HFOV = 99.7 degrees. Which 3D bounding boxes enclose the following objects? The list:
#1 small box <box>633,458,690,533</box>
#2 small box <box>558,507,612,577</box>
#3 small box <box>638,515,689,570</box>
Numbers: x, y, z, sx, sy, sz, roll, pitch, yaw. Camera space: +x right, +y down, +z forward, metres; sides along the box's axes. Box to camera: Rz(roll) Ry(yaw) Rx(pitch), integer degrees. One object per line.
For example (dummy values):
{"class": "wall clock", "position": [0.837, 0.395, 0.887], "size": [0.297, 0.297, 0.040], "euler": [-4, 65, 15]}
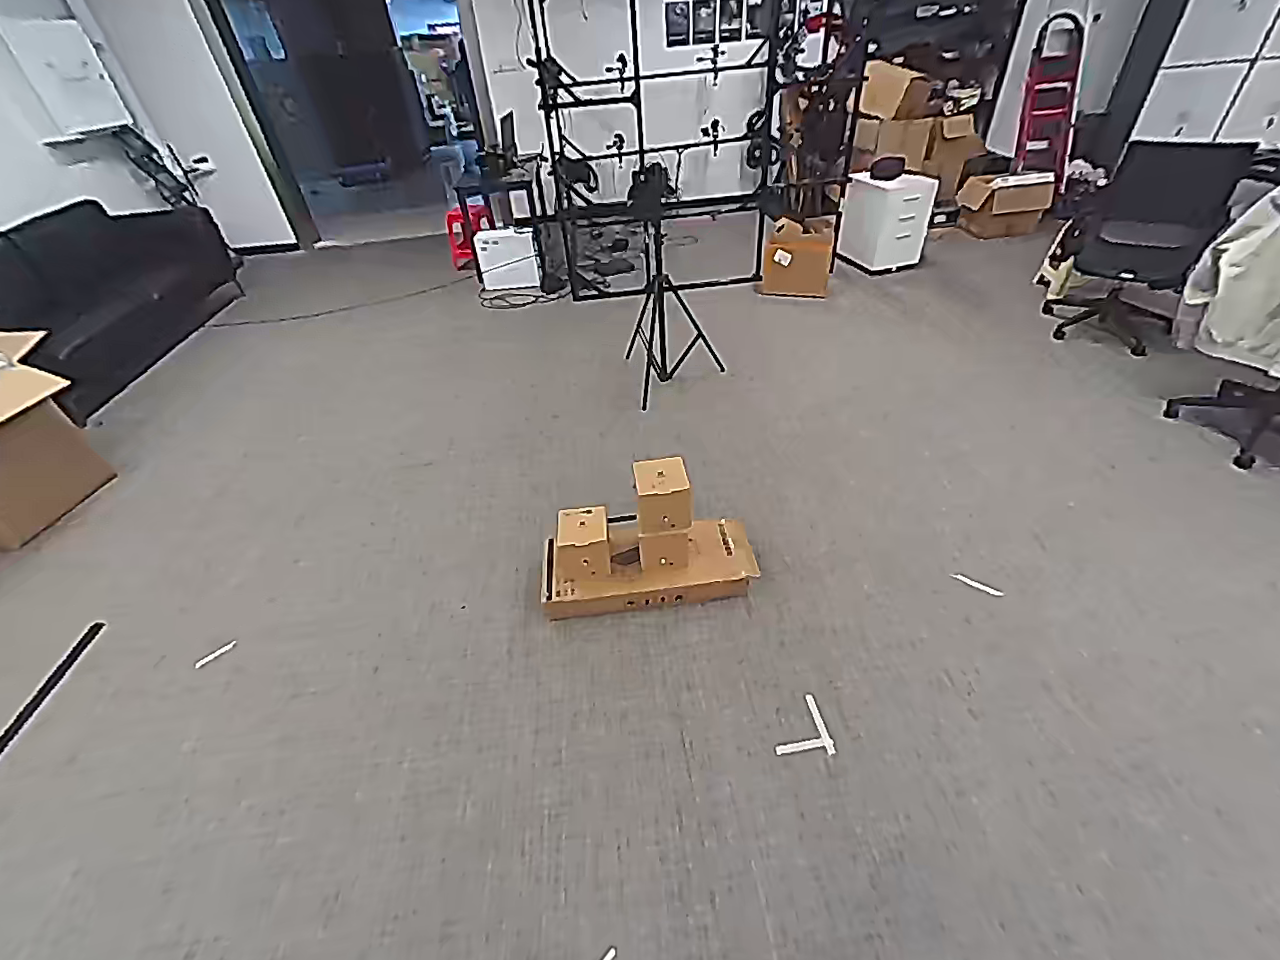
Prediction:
{"class": "small box", "position": [0.071, 0.052, 1.787], "size": [0.168, 0.176, 0.179], "euler": [-8, 39, -2]}
{"class": "small box", "position": [-0.189, 0.220, 1.870], "size": [0.168, 0.176, 0.179], "euler": [-6, 40, -2]}
{"class": "small box", "position": [0.079, 0.190, 1.879], "size": [0.168, 0.176, 0.179], "euler": [-5, 40, 1]}
